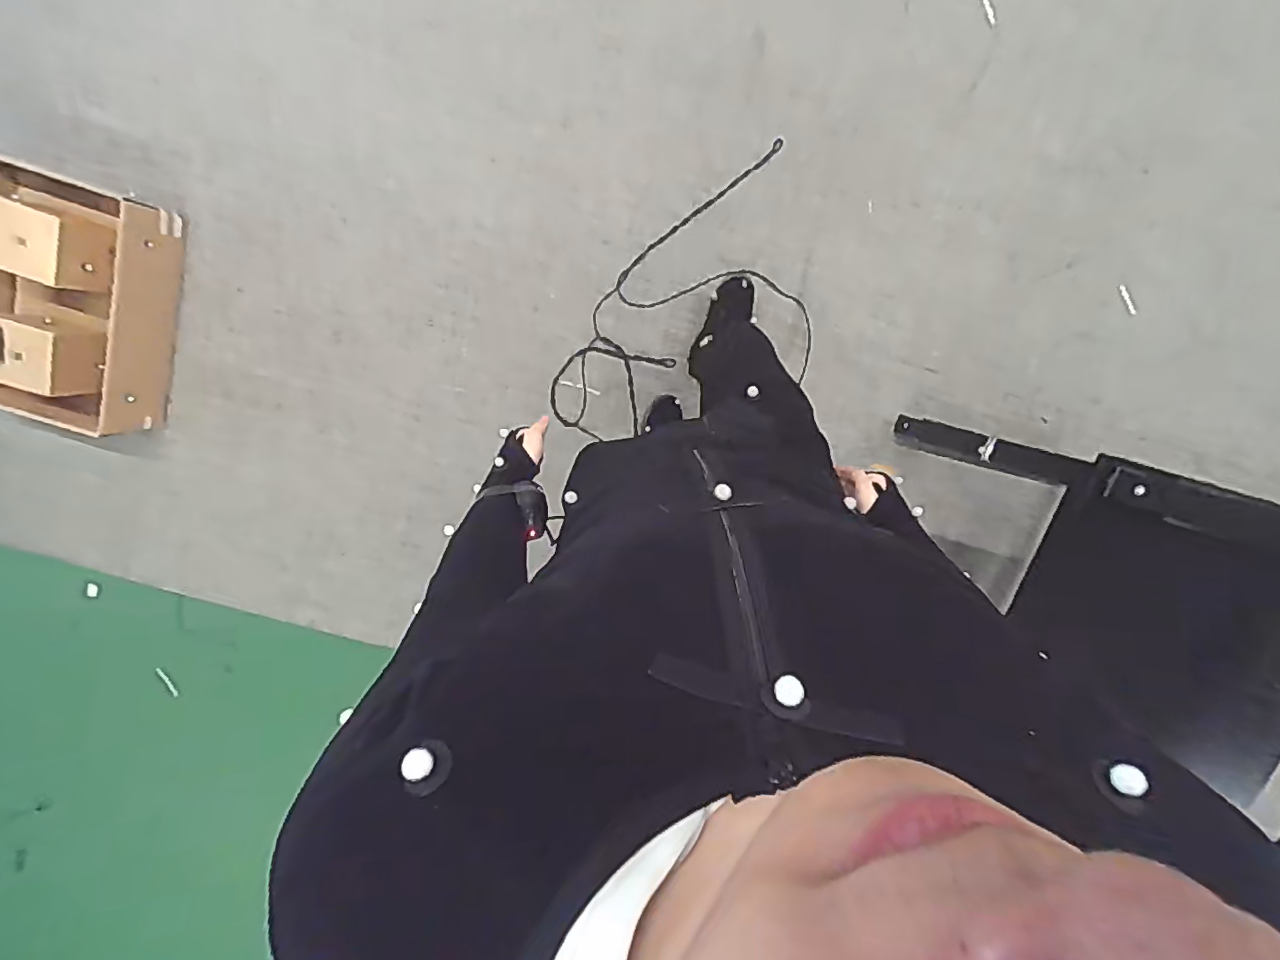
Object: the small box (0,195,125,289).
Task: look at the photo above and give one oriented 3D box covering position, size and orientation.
[{"bbox_3d":[-1.462,-0.591,1.362,0.179,0.176,0.168,19,104,-4],"label":"small box"}]
